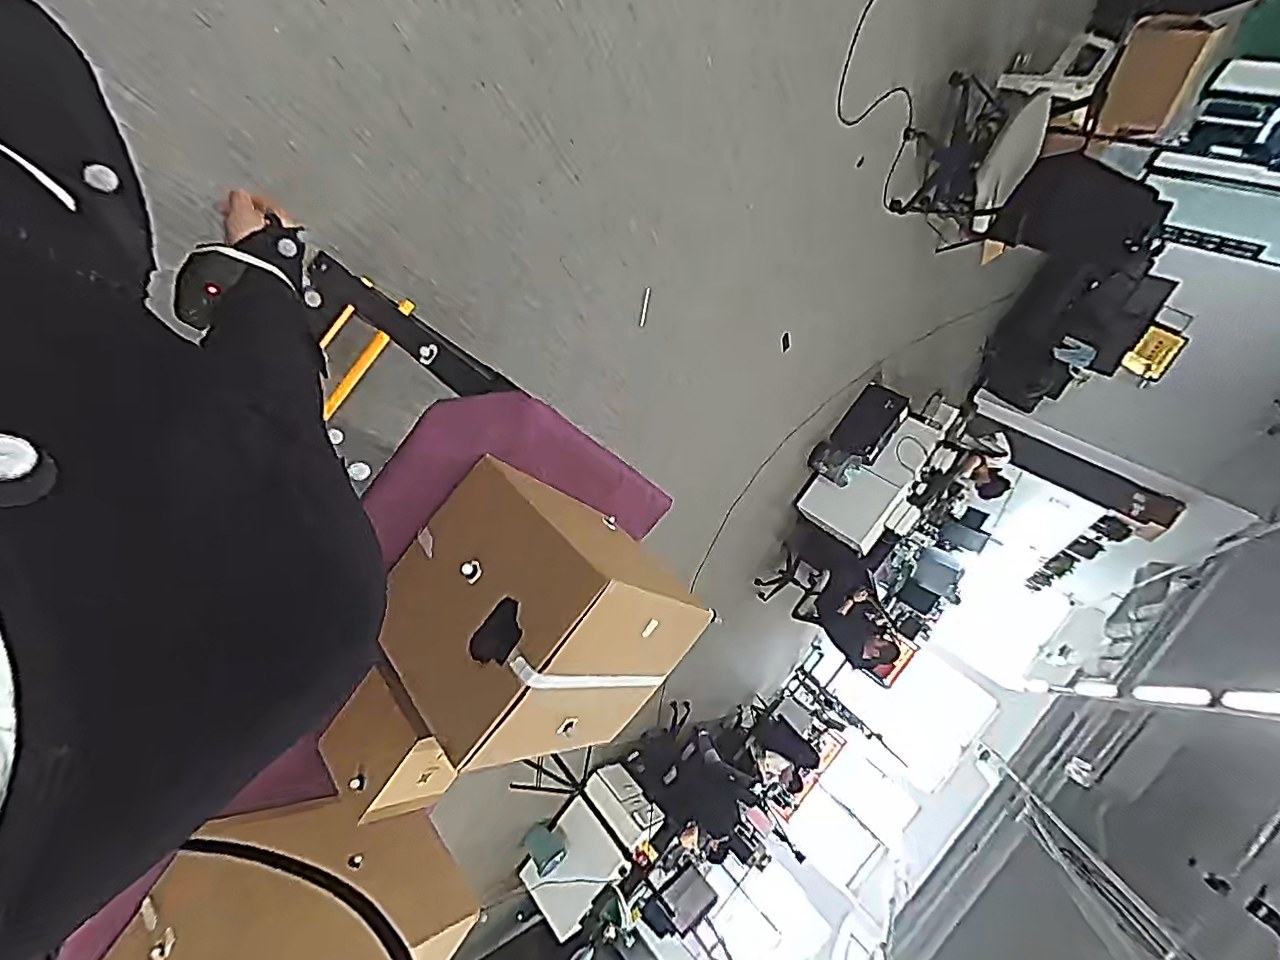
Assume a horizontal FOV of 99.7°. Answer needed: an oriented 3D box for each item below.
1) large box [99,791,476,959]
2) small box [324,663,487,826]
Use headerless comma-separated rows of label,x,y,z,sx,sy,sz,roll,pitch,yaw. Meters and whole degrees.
large box,-0.580,0.774,0.915,0.320,0.320,0.408,-53,149,1
small box,-0.410,0.445,0.934,0.179,0.176,0.168,-52,149,2
